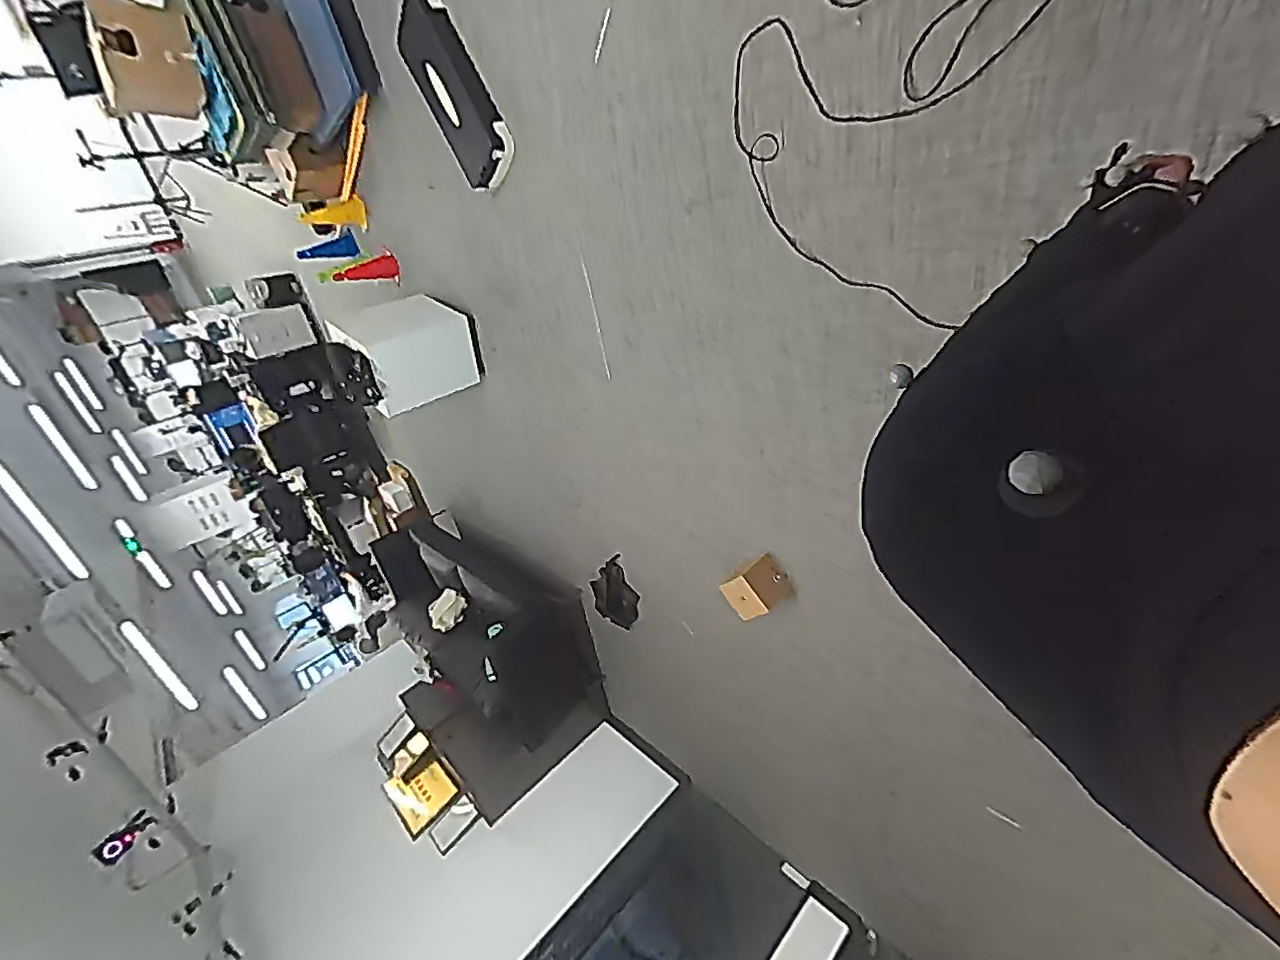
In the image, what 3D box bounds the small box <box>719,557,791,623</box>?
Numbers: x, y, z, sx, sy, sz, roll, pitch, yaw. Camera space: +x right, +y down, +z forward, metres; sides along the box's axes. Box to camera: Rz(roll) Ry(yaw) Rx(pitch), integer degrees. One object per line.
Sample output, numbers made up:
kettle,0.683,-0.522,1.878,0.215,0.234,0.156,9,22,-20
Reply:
small box,0.447,0.424,2.090,0.168,0.176,0.179,53,145,7
